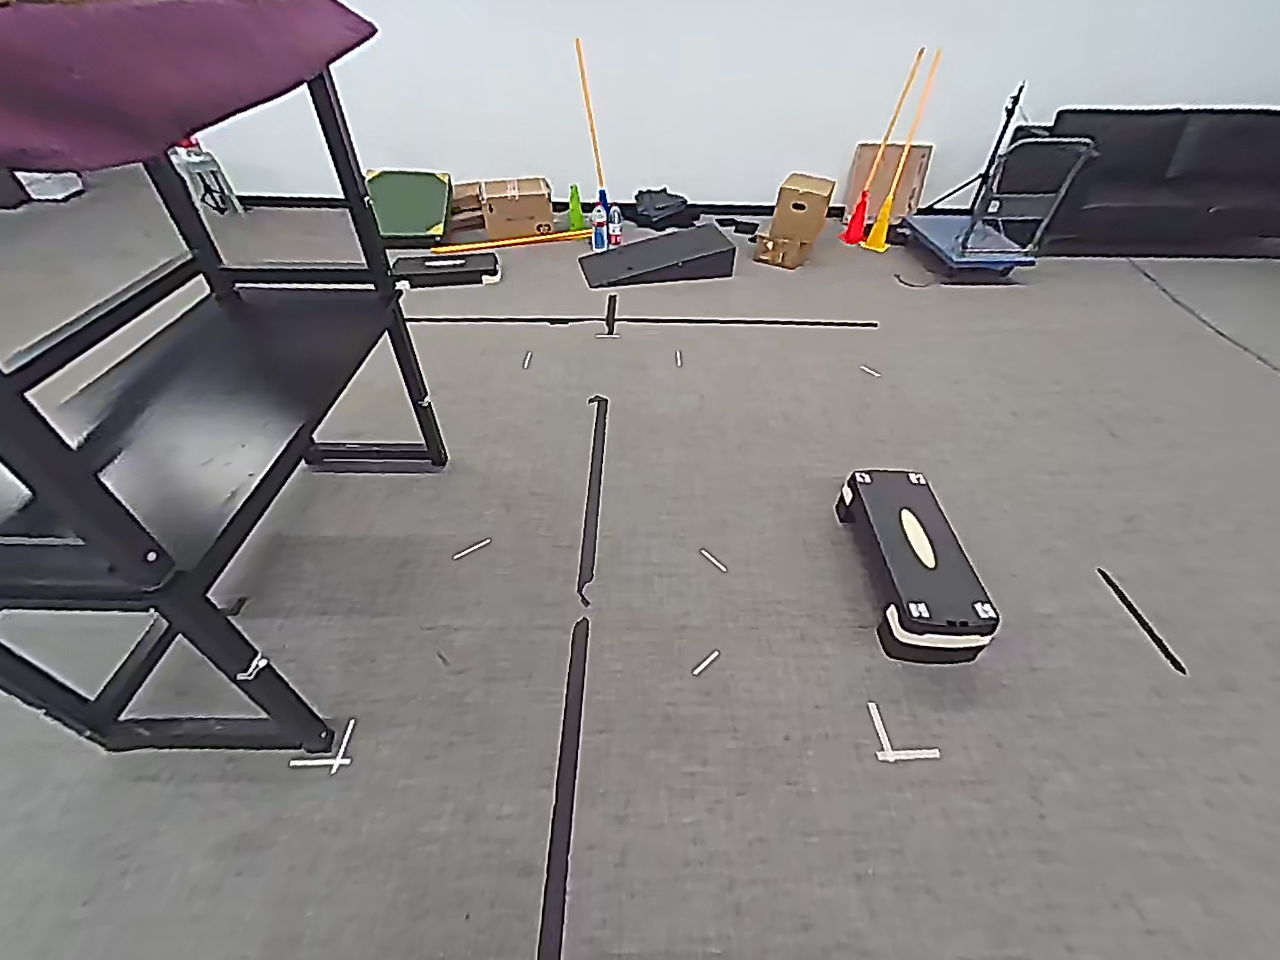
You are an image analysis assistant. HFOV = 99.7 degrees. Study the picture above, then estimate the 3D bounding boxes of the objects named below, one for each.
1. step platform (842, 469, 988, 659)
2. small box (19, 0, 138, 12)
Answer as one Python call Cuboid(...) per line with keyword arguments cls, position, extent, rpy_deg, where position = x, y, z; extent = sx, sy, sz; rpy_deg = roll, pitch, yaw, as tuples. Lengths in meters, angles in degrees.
Cuboid(cls="step platform", position=(0.903, 0.246, 1.839), extent=(0.286, 0.204, 0.684), rpy_deg=(5, 42, 4))
Cuboid(cls="small box", position=(-0.925, -0.824, 0.815), extent=(0.168, 0.176, 0.179), rpy_deg=(4, 44, 5))
